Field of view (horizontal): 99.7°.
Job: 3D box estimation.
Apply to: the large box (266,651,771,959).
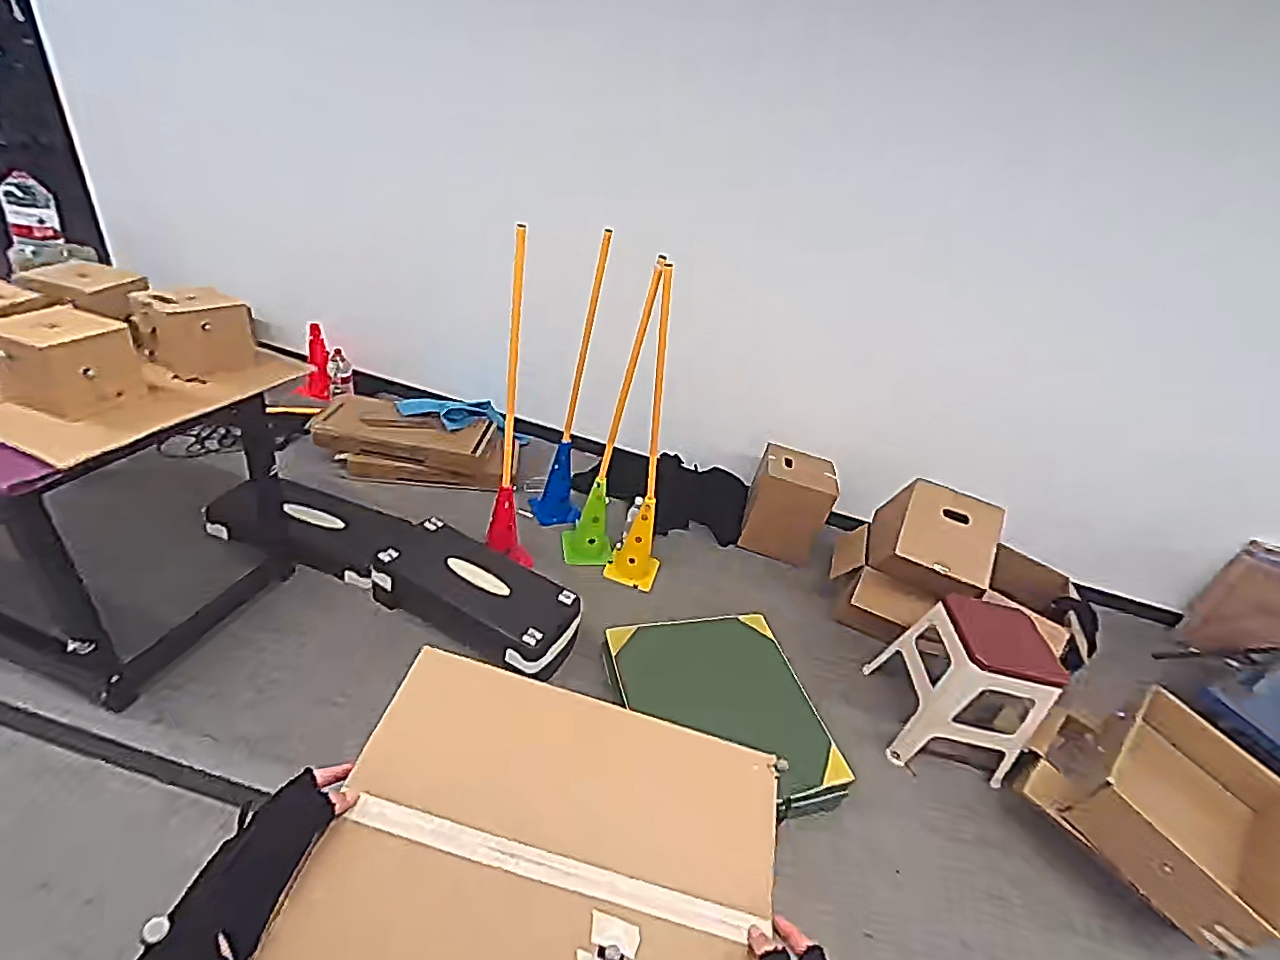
[{"bbox_3d":[-0.106,0.450,0.601,0.408,0.320,0.320,18,45,1],"label":"large box"}]
